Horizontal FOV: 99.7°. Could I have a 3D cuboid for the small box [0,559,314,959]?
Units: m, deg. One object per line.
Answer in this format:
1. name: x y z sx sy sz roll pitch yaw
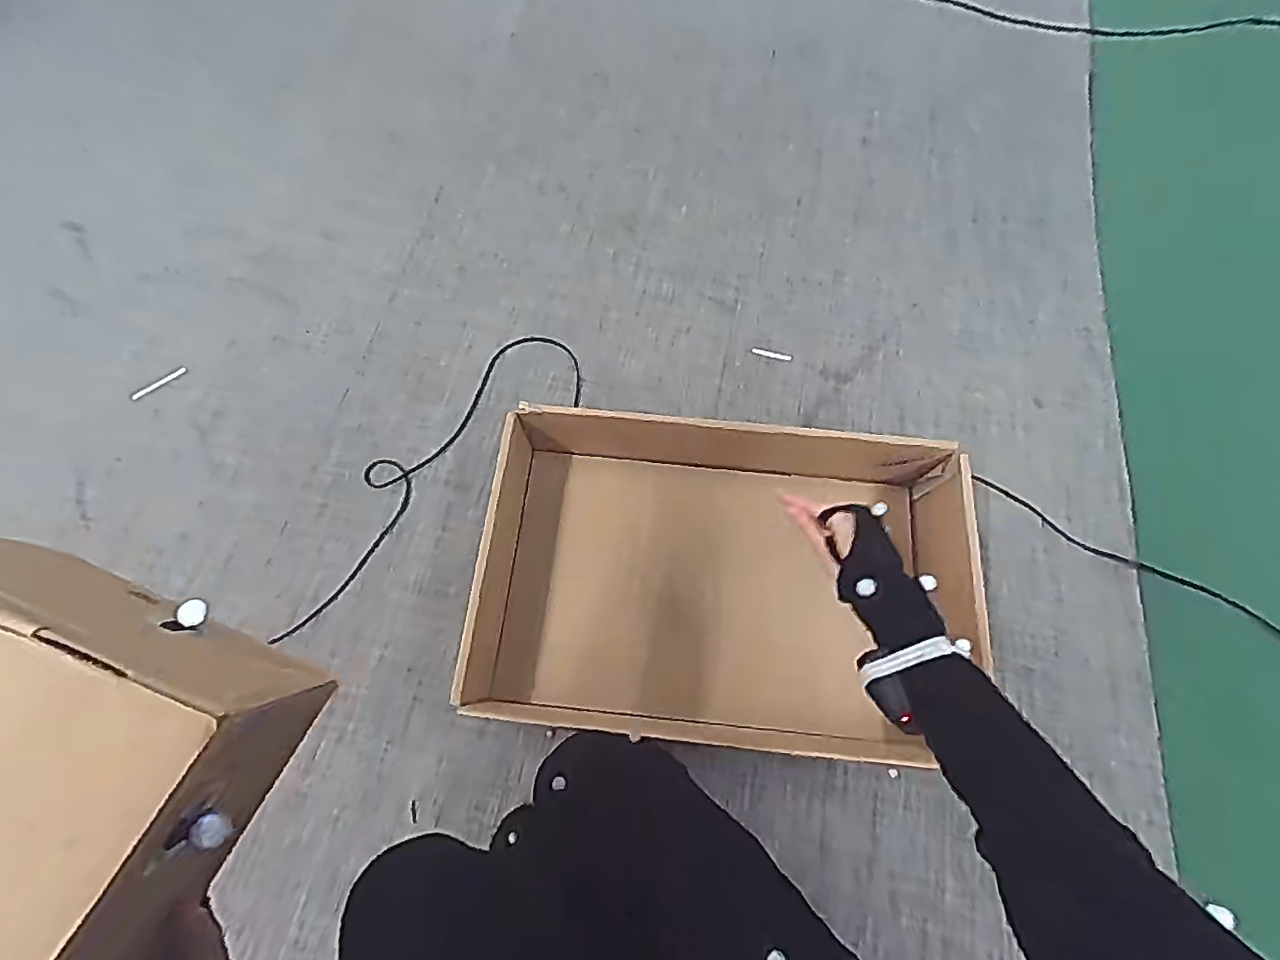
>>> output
1. small box: -0.263 0.137 0.205 0.168 0.176 0.179 29 67 -7
